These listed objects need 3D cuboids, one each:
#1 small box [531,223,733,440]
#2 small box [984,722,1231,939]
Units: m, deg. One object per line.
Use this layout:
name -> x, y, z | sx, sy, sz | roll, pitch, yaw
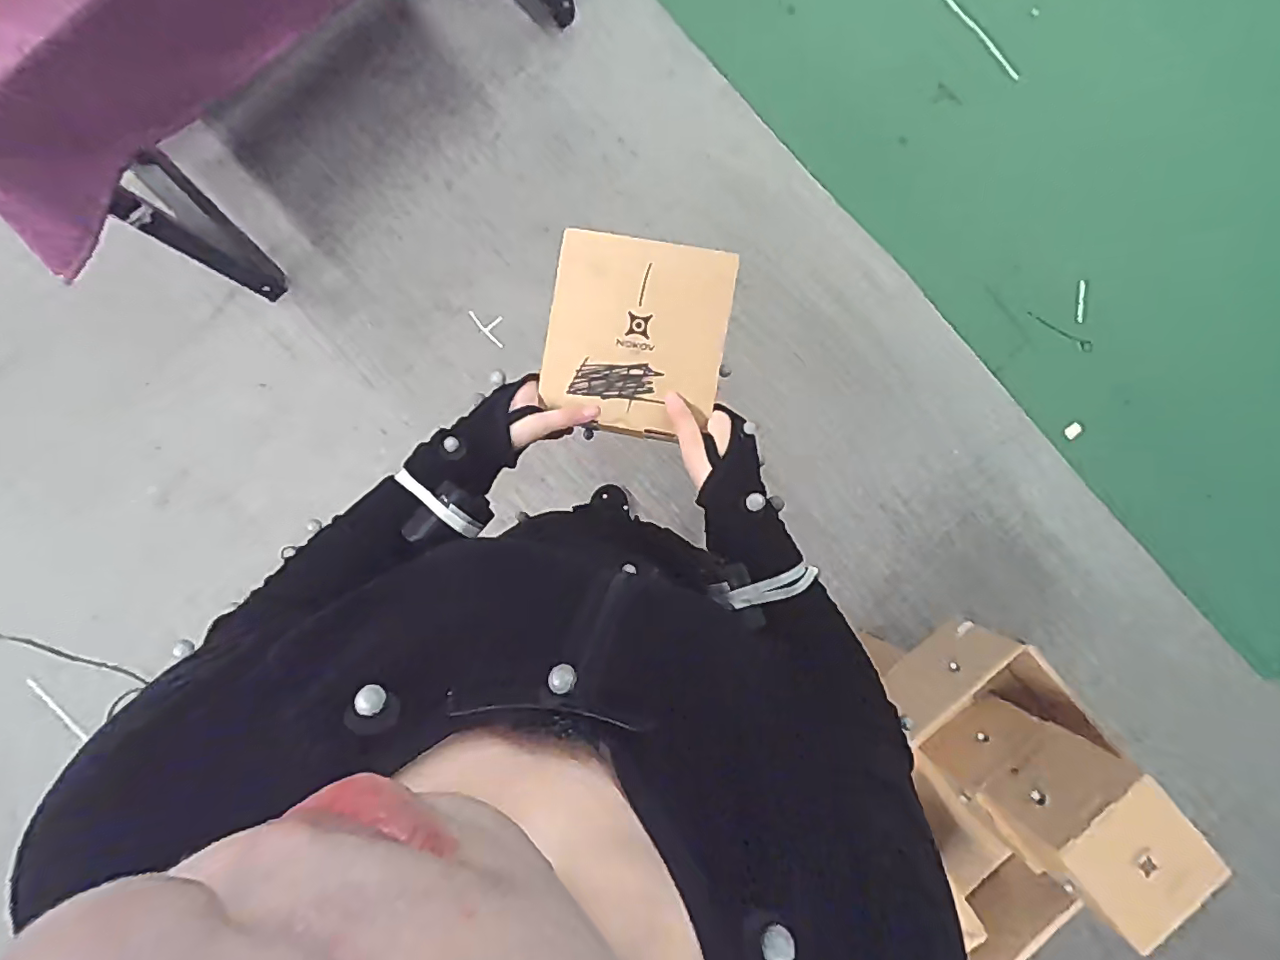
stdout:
small box -> -0.003, -0.142, 0.580 | 0.168, 0.176, 0.179 | 10, 92, 3
small box -> 0.657, 0.484, 0.786 | 0.168, 0.176, 0.179 | -40, 90, -2
